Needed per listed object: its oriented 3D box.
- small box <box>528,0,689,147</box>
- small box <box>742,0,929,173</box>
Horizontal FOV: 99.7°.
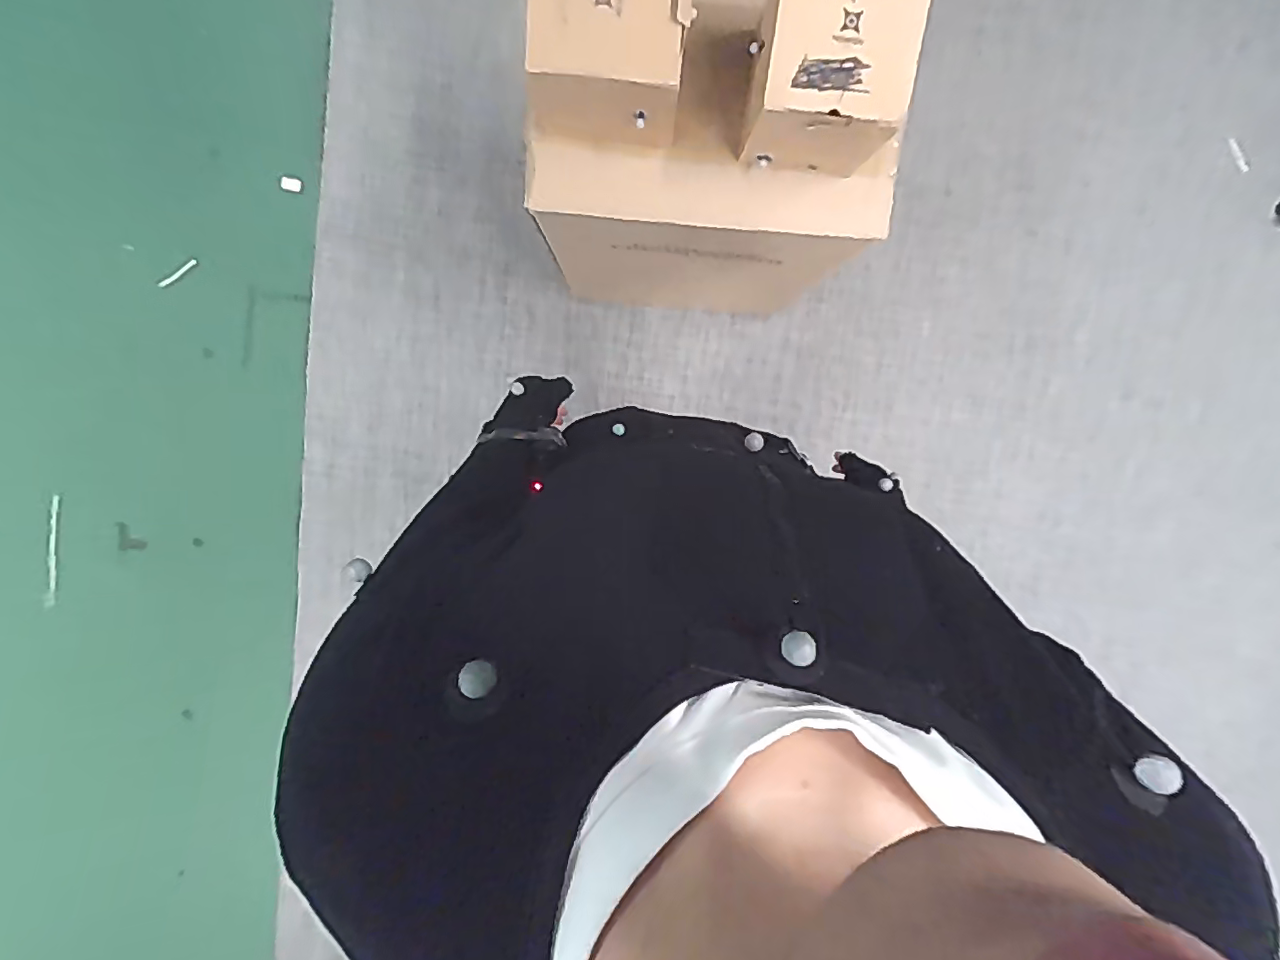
[{"bbox_3d":[-0.033,-0.543,0.677,0.179,0.176,0.168,5,99,1],"label":"small box"},{"bbox_3d":[0.231,-0.511,0.676,0.168,0.176,0.179,7,100,-1],"label":"small box"}]
